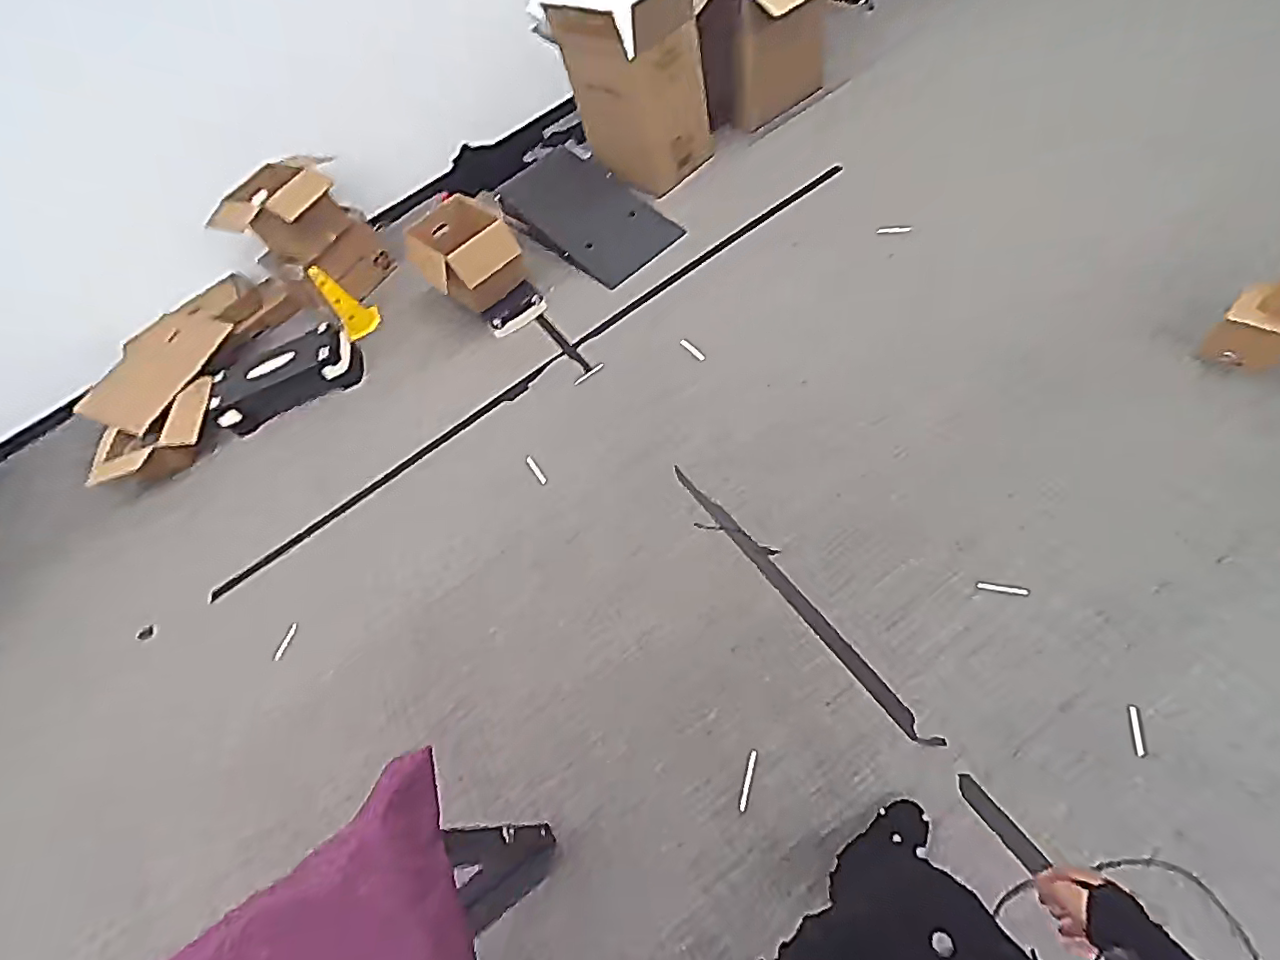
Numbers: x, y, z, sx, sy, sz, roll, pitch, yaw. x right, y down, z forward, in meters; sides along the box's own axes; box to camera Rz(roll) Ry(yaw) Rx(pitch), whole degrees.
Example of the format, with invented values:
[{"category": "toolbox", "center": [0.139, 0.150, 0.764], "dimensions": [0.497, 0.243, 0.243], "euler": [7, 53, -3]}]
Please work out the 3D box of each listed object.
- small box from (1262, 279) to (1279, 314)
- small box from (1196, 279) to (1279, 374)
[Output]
[{"category": "small box", "center": [1.845, -0.535, 1.434], "dimensions": [0.179, 0.176, 0.168], "euler": [-33, 54, -5]}, {"category": "small box", "center": [1.809, -0.448, 1.589], "dimensions": [0.168, 0.176, 0.179], "euler": [36, 74, 32]}]
